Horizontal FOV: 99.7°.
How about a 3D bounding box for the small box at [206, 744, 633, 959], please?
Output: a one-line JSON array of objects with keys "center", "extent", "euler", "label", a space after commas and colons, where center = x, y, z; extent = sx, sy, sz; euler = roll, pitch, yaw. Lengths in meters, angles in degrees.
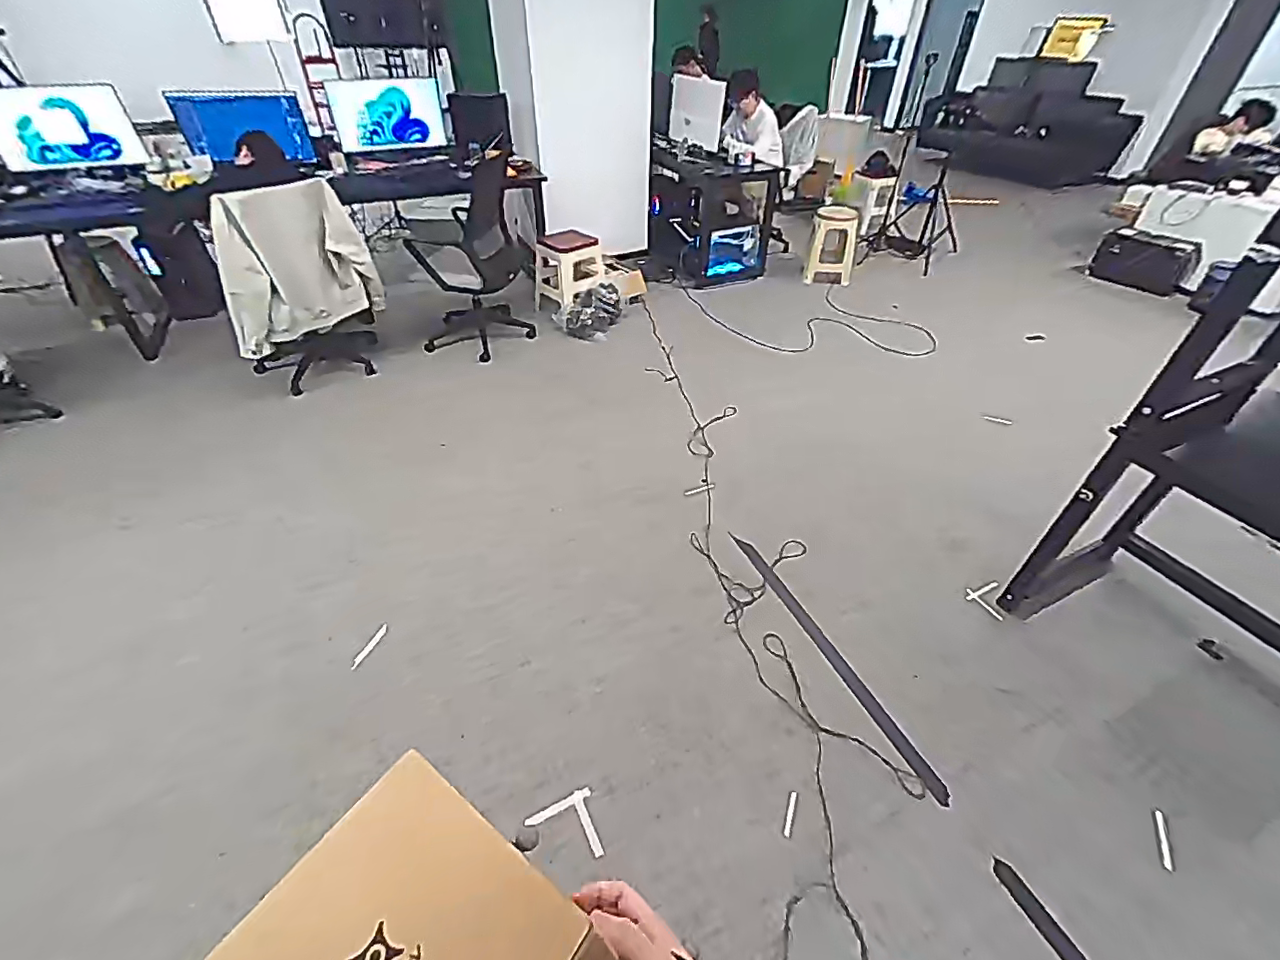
[{"center": [-0.123, 0.317, 0.340], "extent": [0.179, 0.176, 0.168], "euler": [21, 48, 32], "label": "small box"}]
